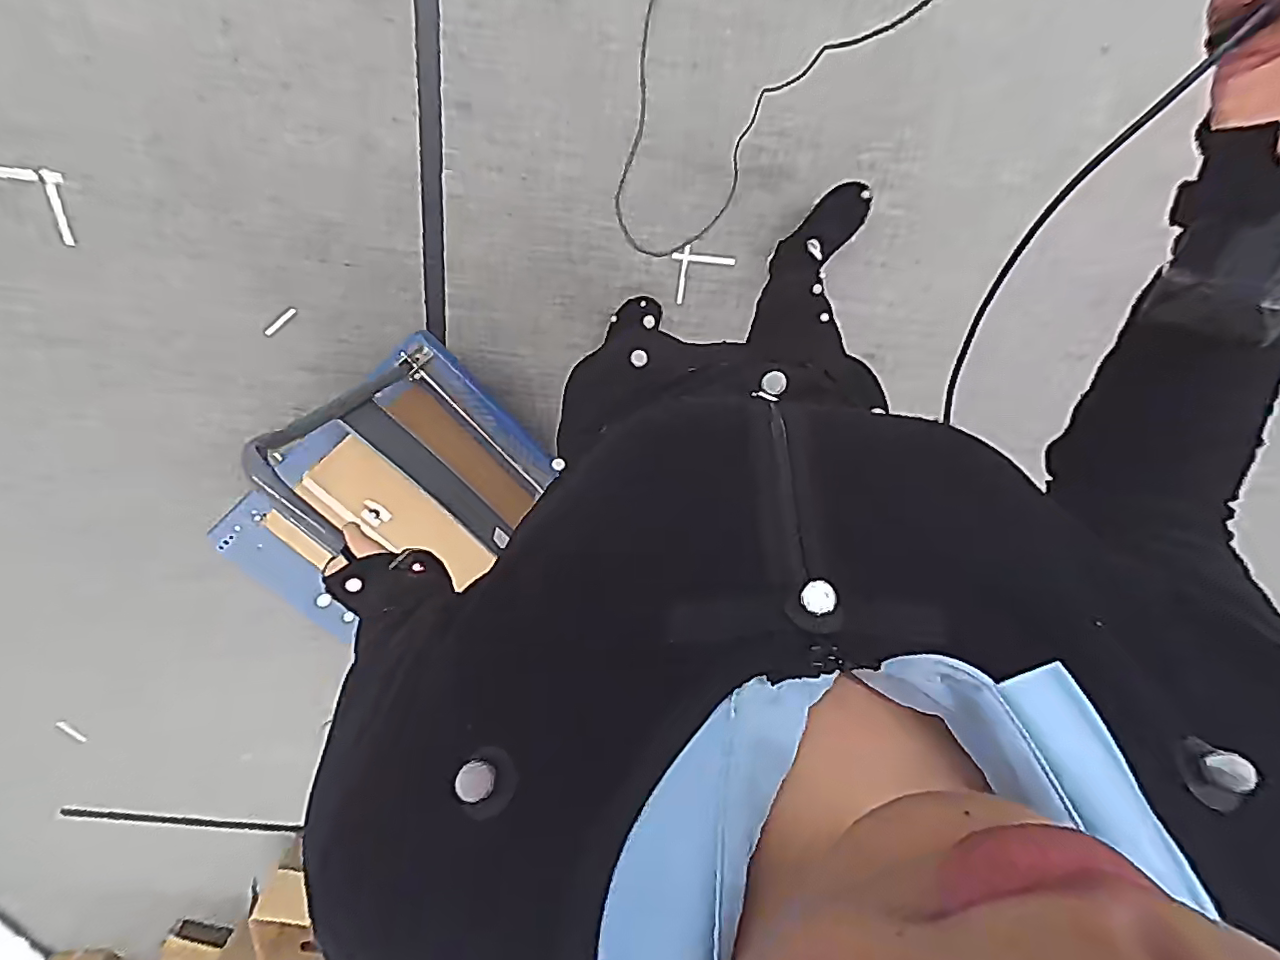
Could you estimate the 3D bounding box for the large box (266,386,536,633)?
[{"bbox_3d":[-0.505,0.061,1.237,0.320,0.320,0.408,-37,110,15],"label":"large box"}]
